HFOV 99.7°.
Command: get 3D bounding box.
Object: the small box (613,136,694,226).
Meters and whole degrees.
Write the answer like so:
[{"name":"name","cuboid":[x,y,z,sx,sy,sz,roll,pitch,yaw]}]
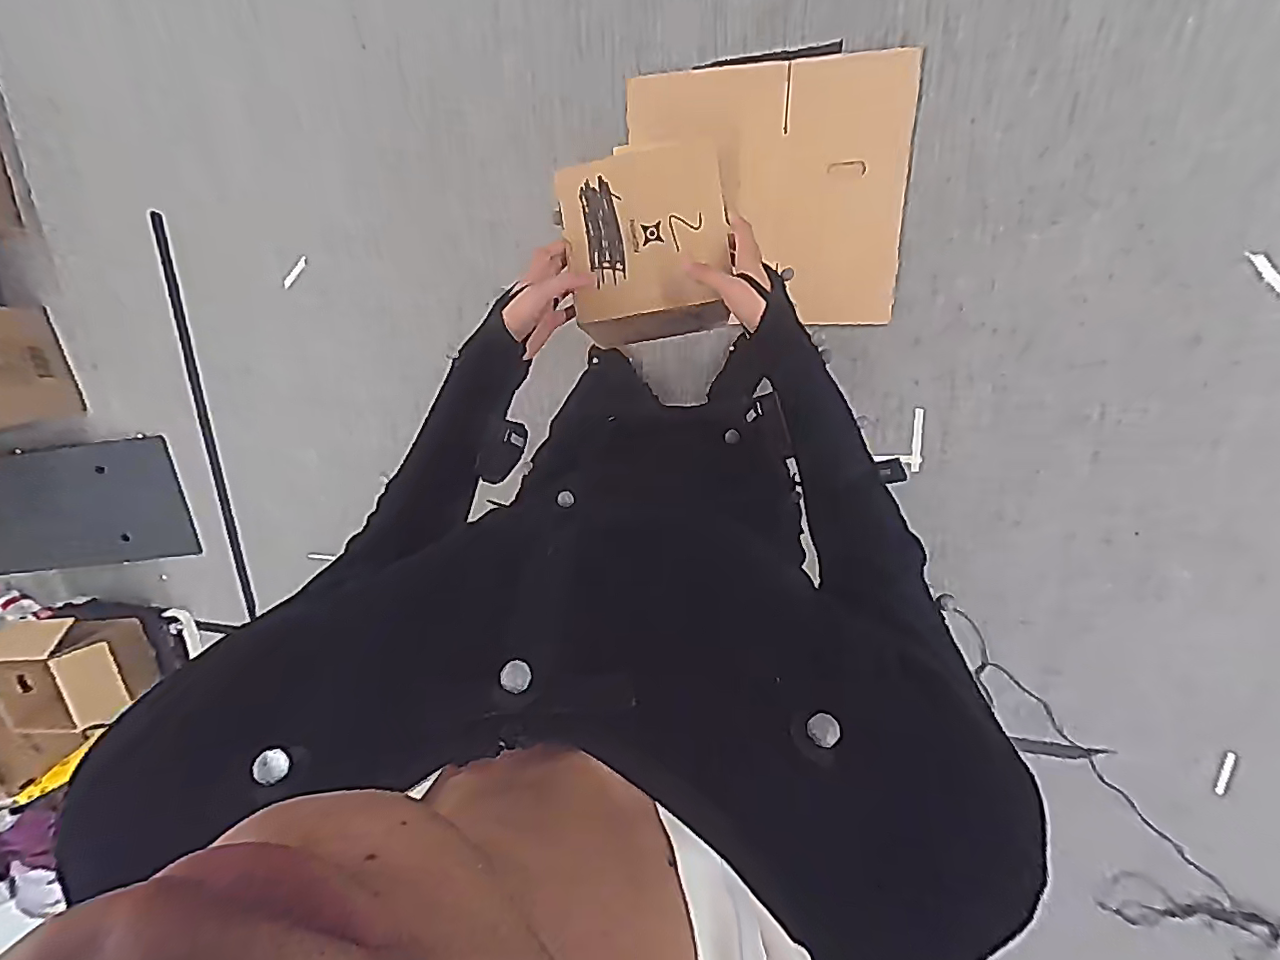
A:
[{"name":"small box","cuboid":[0.038,-0.741,1.355,0.179,0.176,0.168,4,107,14]}]
